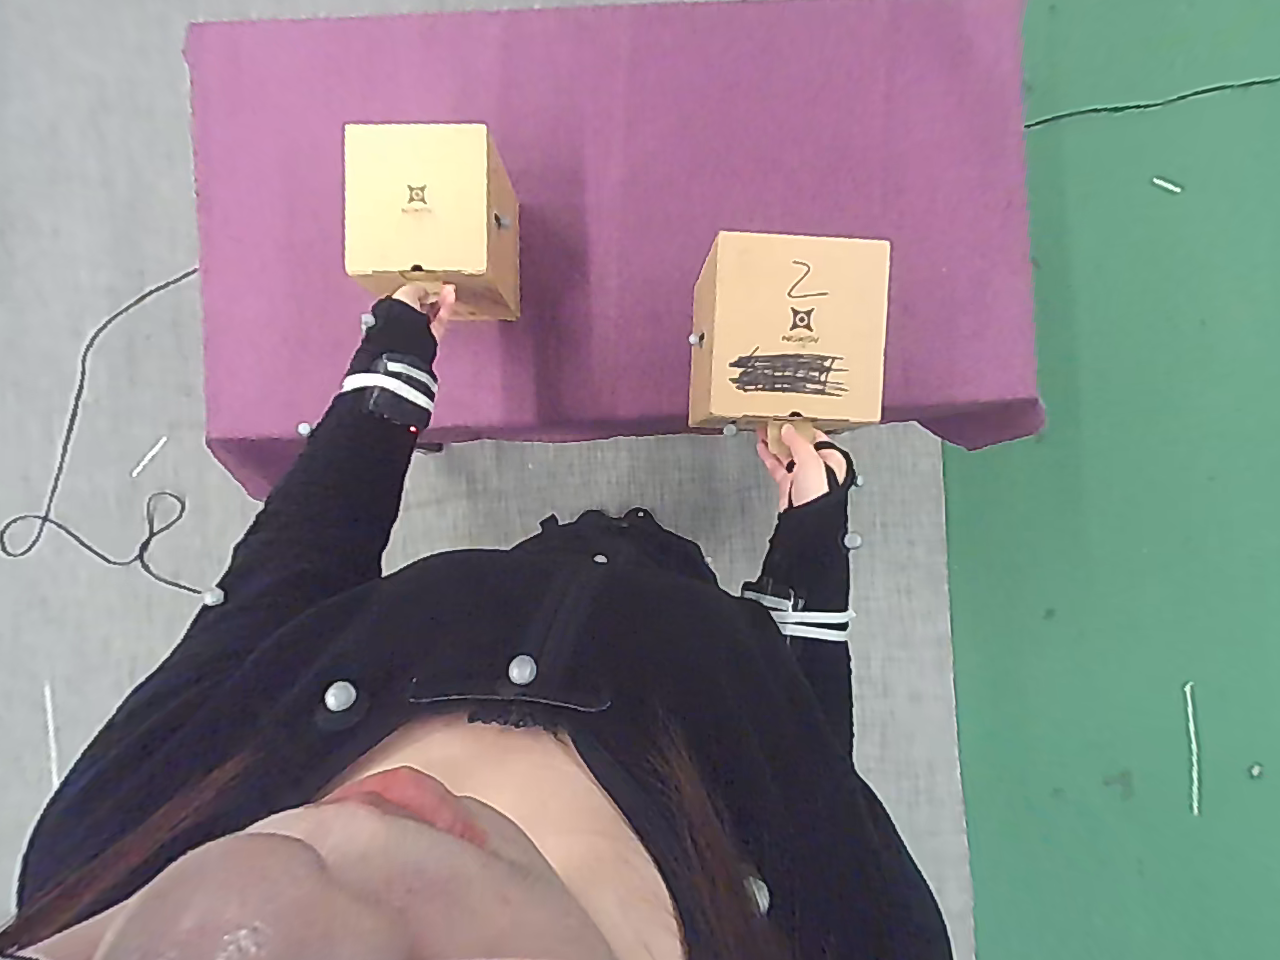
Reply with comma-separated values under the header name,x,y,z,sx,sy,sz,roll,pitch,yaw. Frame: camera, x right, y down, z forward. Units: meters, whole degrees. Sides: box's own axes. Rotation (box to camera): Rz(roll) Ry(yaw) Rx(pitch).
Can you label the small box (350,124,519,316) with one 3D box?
name,x,y,z,sx,sy,sz,roll,pitch,yaw
small box,-0.260,-0.332,0.718,0.168,0.176,0.179,0,90,-1
